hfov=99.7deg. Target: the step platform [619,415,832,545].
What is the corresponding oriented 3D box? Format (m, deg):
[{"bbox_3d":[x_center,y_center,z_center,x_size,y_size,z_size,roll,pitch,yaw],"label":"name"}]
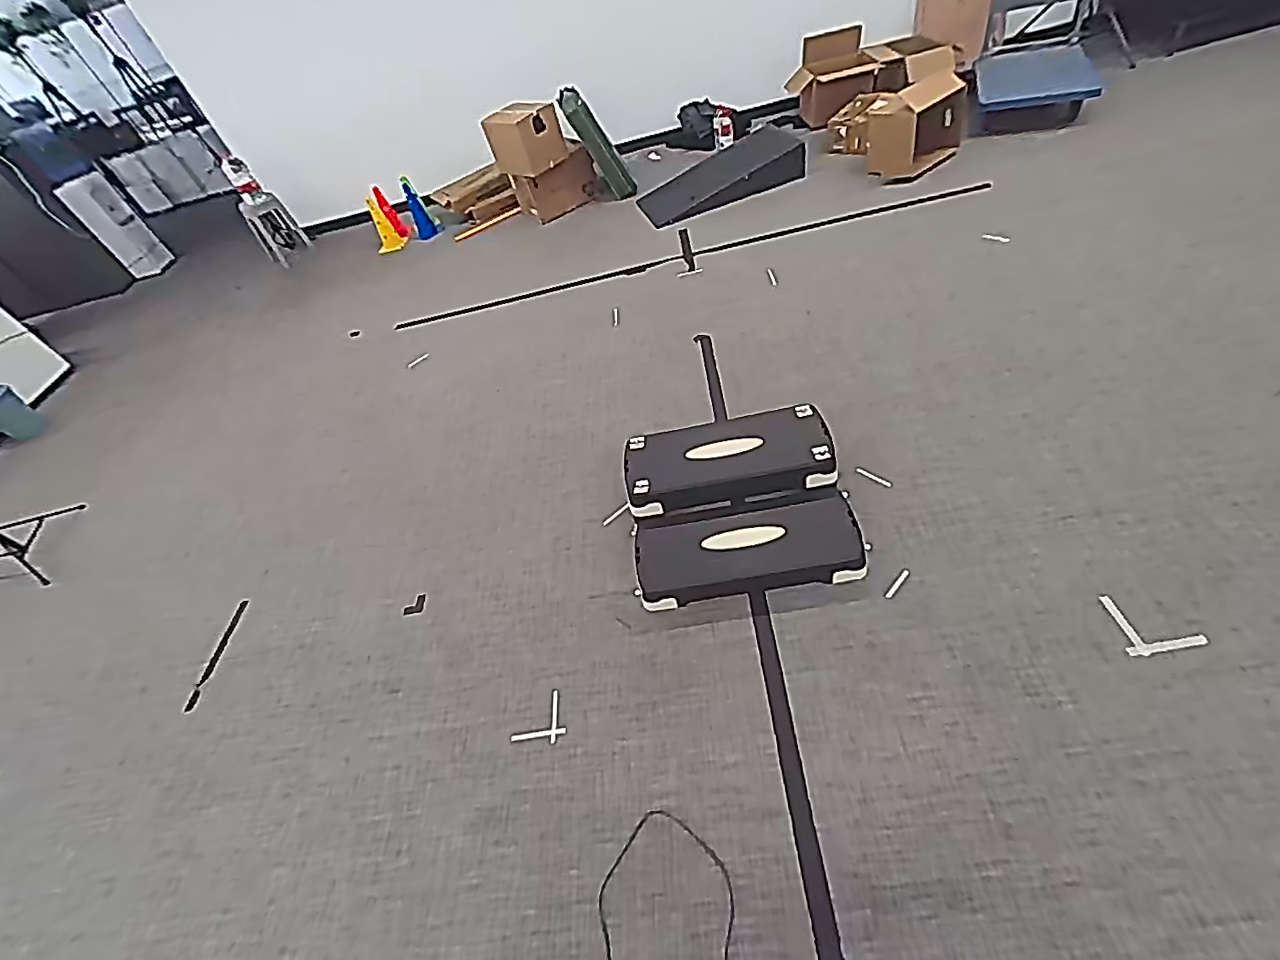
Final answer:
[{"bbox_3d":[0.272,-0.003,1.796,0.684,0.204,0.286,-11,48,6],"label":"step platform"}]
